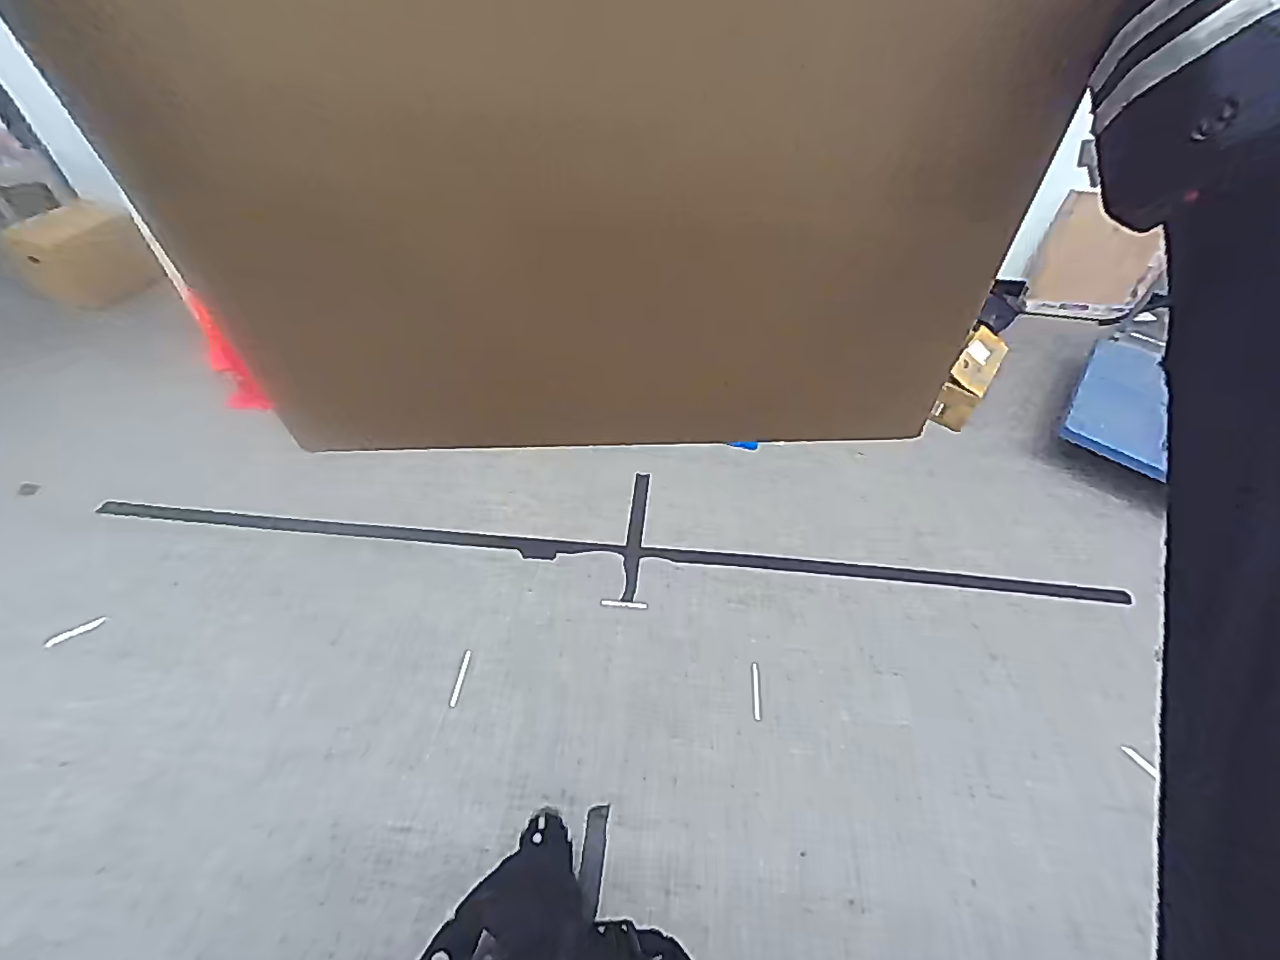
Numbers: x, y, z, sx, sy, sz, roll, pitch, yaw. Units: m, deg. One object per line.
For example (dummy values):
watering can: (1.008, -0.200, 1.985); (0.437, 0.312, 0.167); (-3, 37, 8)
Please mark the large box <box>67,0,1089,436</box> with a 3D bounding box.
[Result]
large box: (-0.024, -0.244, 0.358); (0.408, 0.320, 0.320); (-1, 48, 0)
